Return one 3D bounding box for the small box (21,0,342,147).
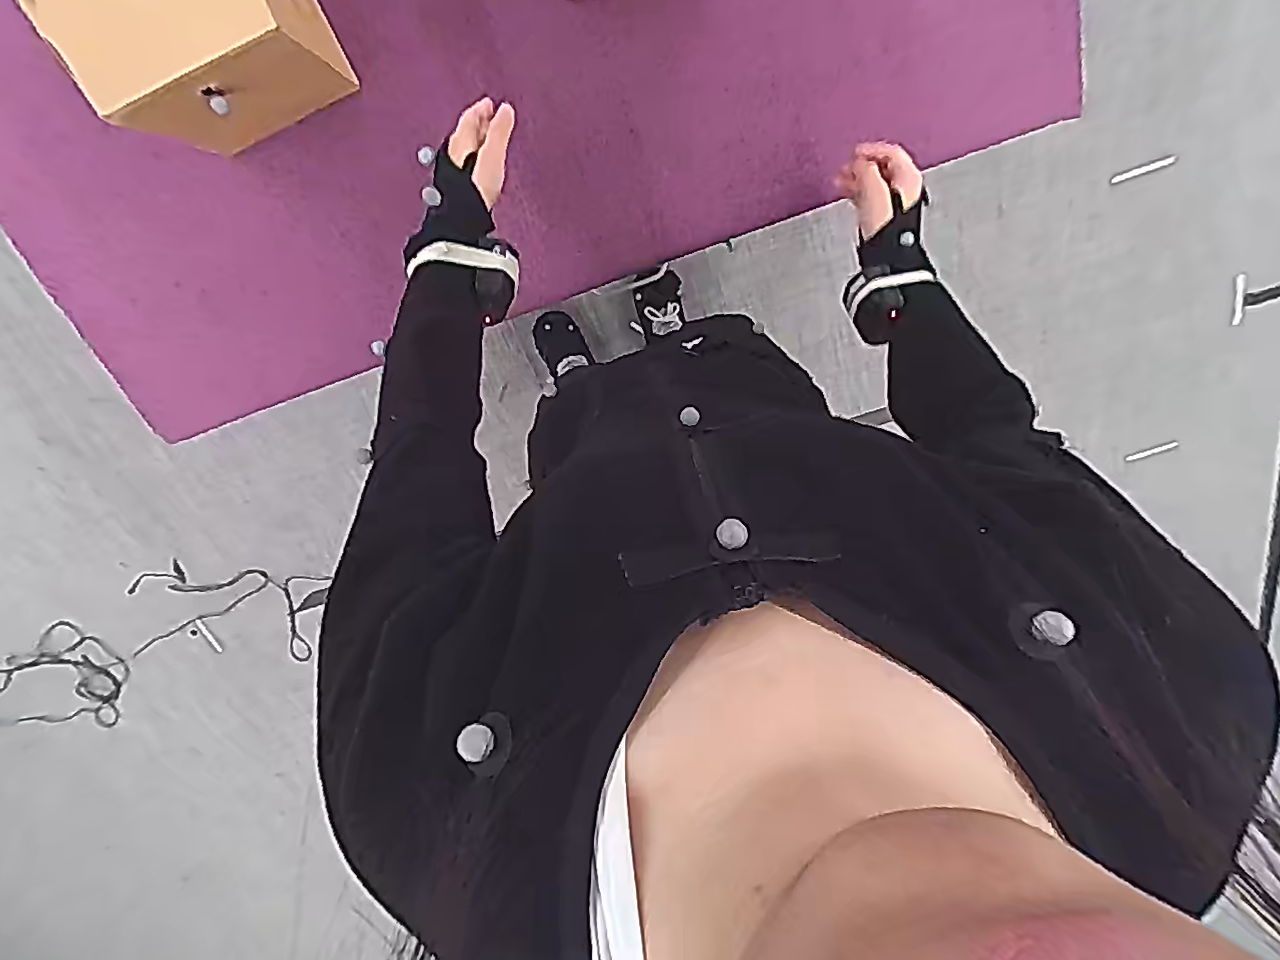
[{"bbox_3d":[-0.406,-0.433,0.488,0.179,0.176,0.168,-22,112,5],"label":"small box"}]
